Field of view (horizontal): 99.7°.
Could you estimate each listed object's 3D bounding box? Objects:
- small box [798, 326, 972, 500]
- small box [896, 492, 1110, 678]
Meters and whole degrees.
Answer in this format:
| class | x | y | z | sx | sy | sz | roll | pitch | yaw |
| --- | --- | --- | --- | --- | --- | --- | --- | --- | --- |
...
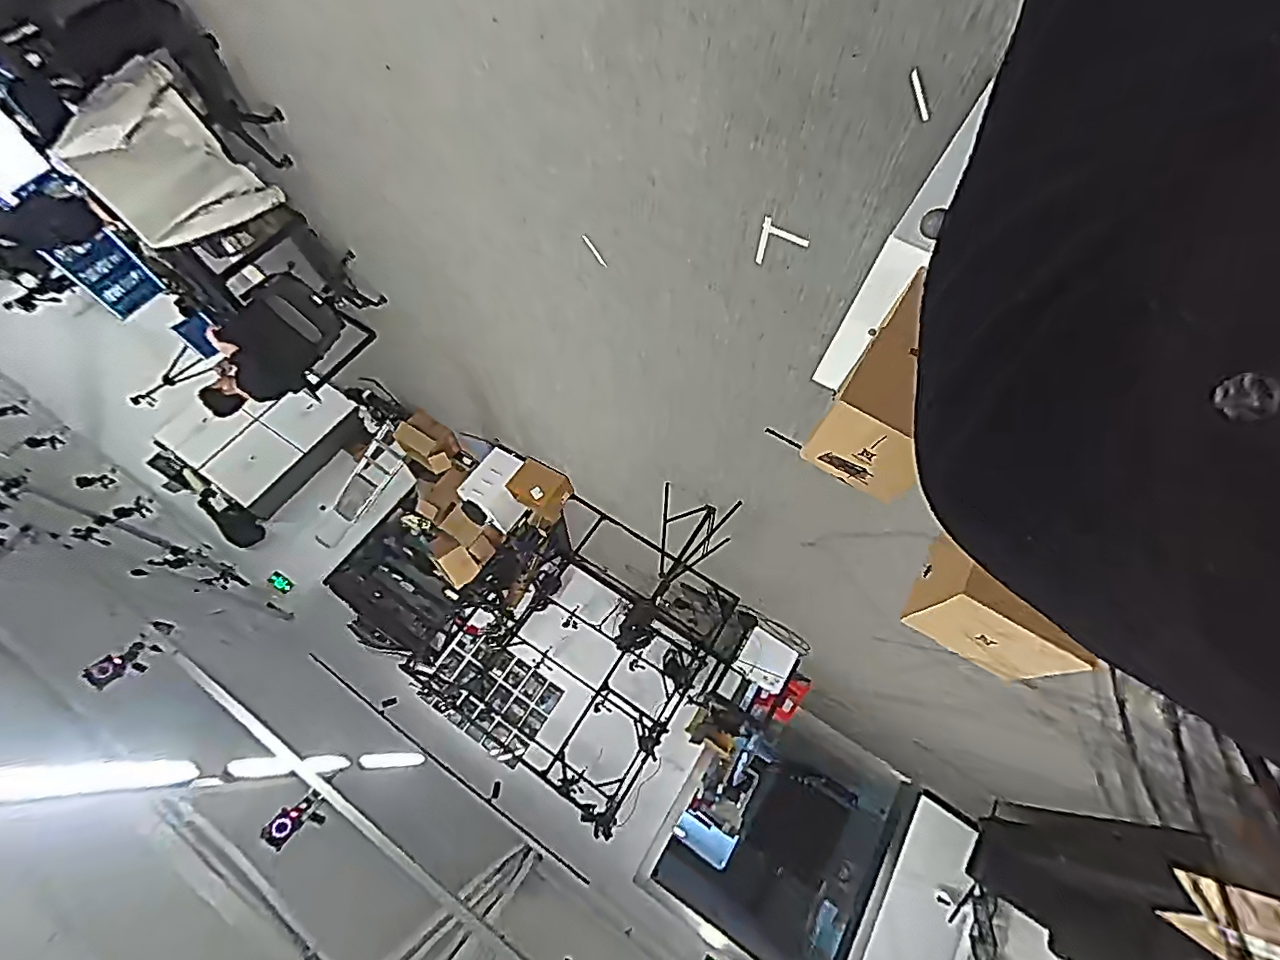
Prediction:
| class | x | y | z | sx | sy | sz | roll | pitch | yaw |
| --- | --- | --- | --- | --- | --- | --- | --- | --- | --- |
| small box | 0.382 | -0.103 | 0.852 | 0.168 | 0.176 | 0.179 | 32 | 157 | 10 |
| small box | 0.499 | 0.148 | 0.753 | 0.168 | 0.176 | 0.179 | 30 | 157 | 13 |
